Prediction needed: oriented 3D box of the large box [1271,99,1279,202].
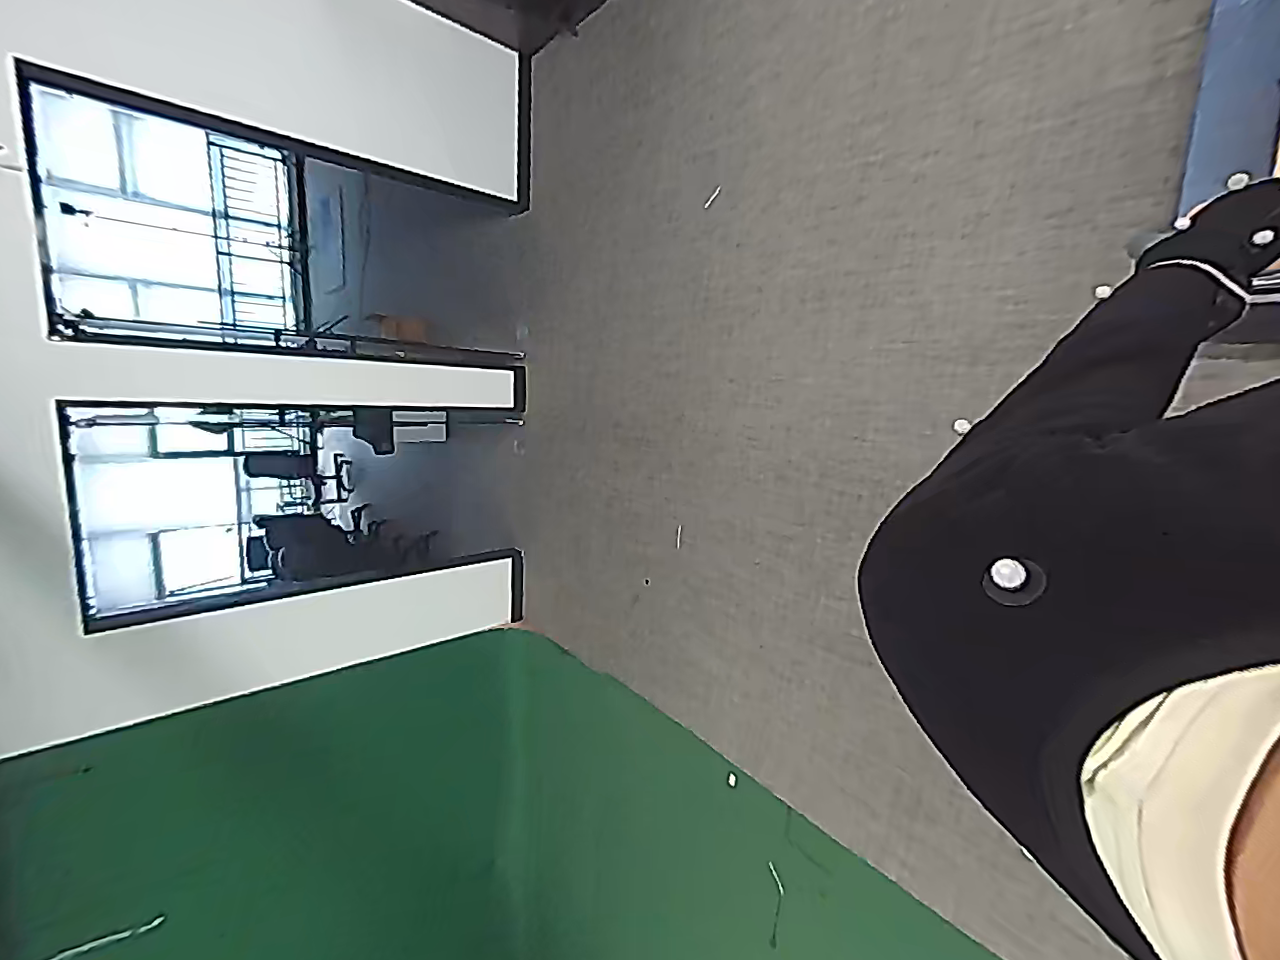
[{"bbox_3d":[1.122,-0.615,0.728,0.320,0.320,0.408,11,102,49],"label":"large box"}]
